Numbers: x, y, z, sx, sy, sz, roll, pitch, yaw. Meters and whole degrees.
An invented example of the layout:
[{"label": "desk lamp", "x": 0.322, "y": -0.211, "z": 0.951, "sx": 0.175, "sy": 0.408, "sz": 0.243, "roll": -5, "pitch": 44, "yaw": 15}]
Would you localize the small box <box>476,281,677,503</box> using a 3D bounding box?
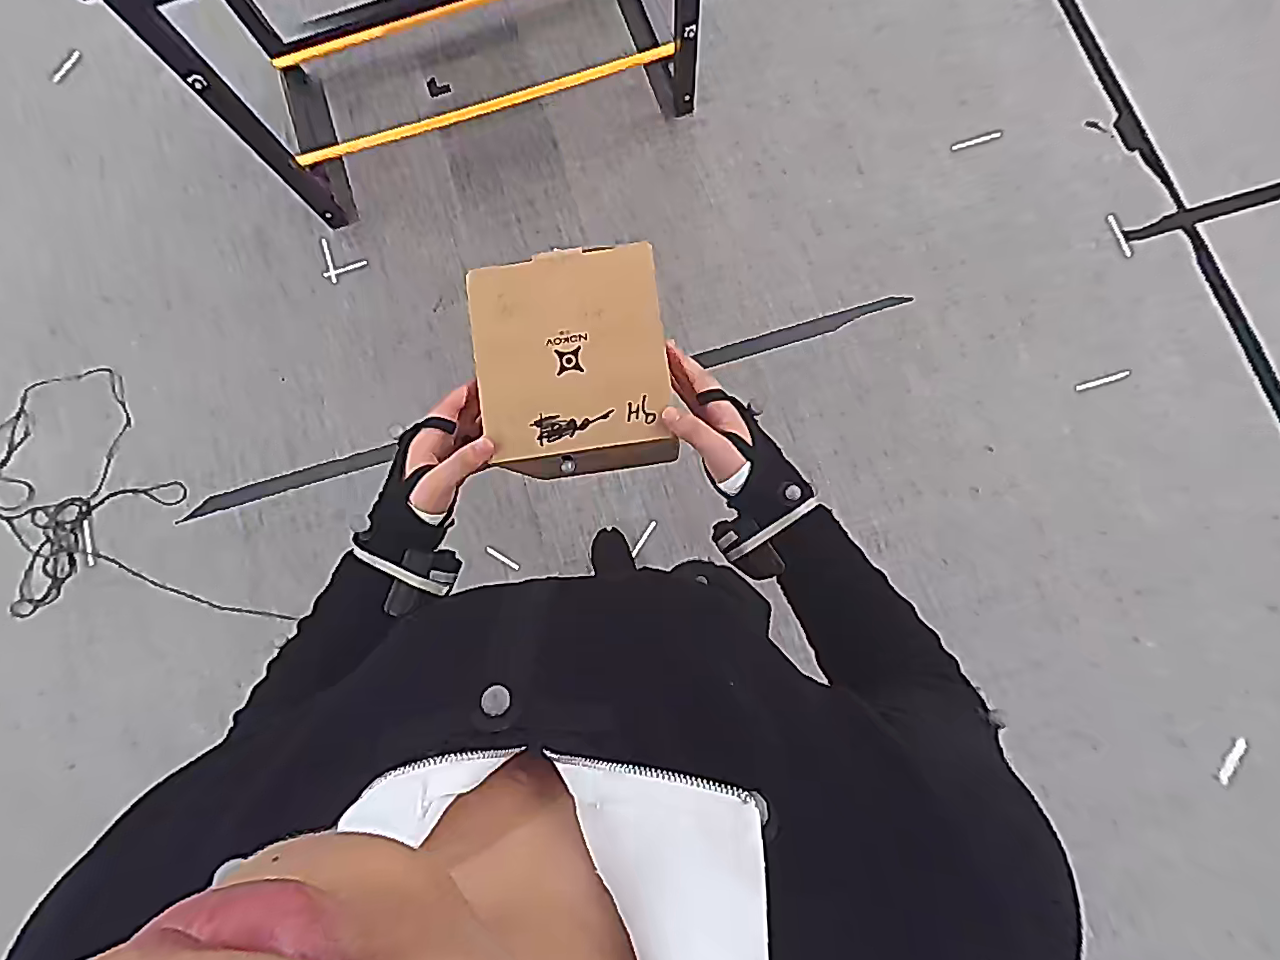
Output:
[{"label": "small box", "x": -0.054, "y": -0.075, "z": 0.555, "sx": 0.168, "sy": 0.176, "sz": 0.179, "roll": -8, "pitch": 84, "yaw": 3}]
